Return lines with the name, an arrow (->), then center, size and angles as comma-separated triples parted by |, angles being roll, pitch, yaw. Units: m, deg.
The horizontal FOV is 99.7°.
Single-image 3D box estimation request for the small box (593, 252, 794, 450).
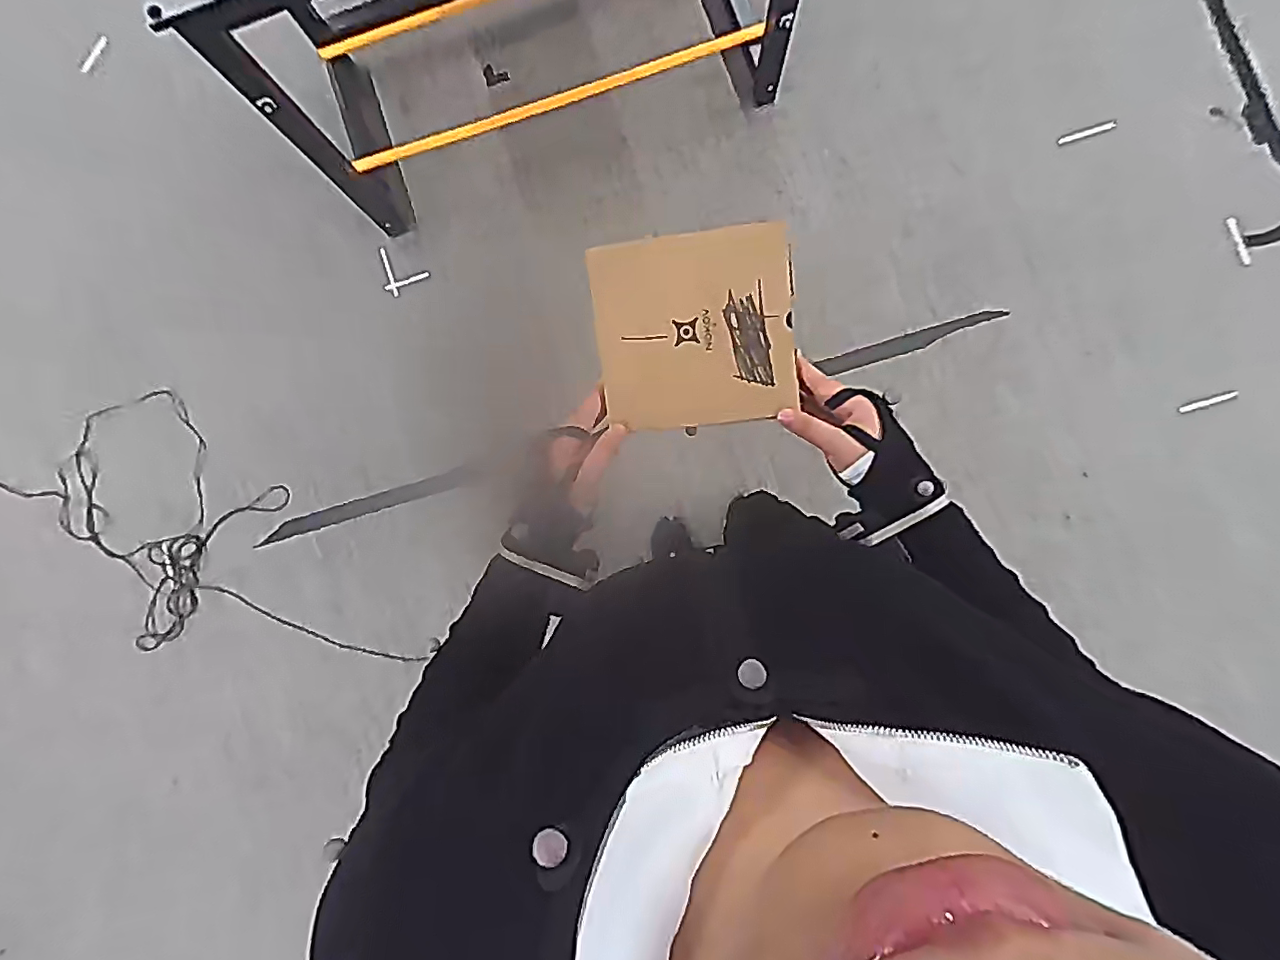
small box -> 0.052, -0.131, 0.575 | 0.179, 0.176, 0.168 | -6, 100, 3
